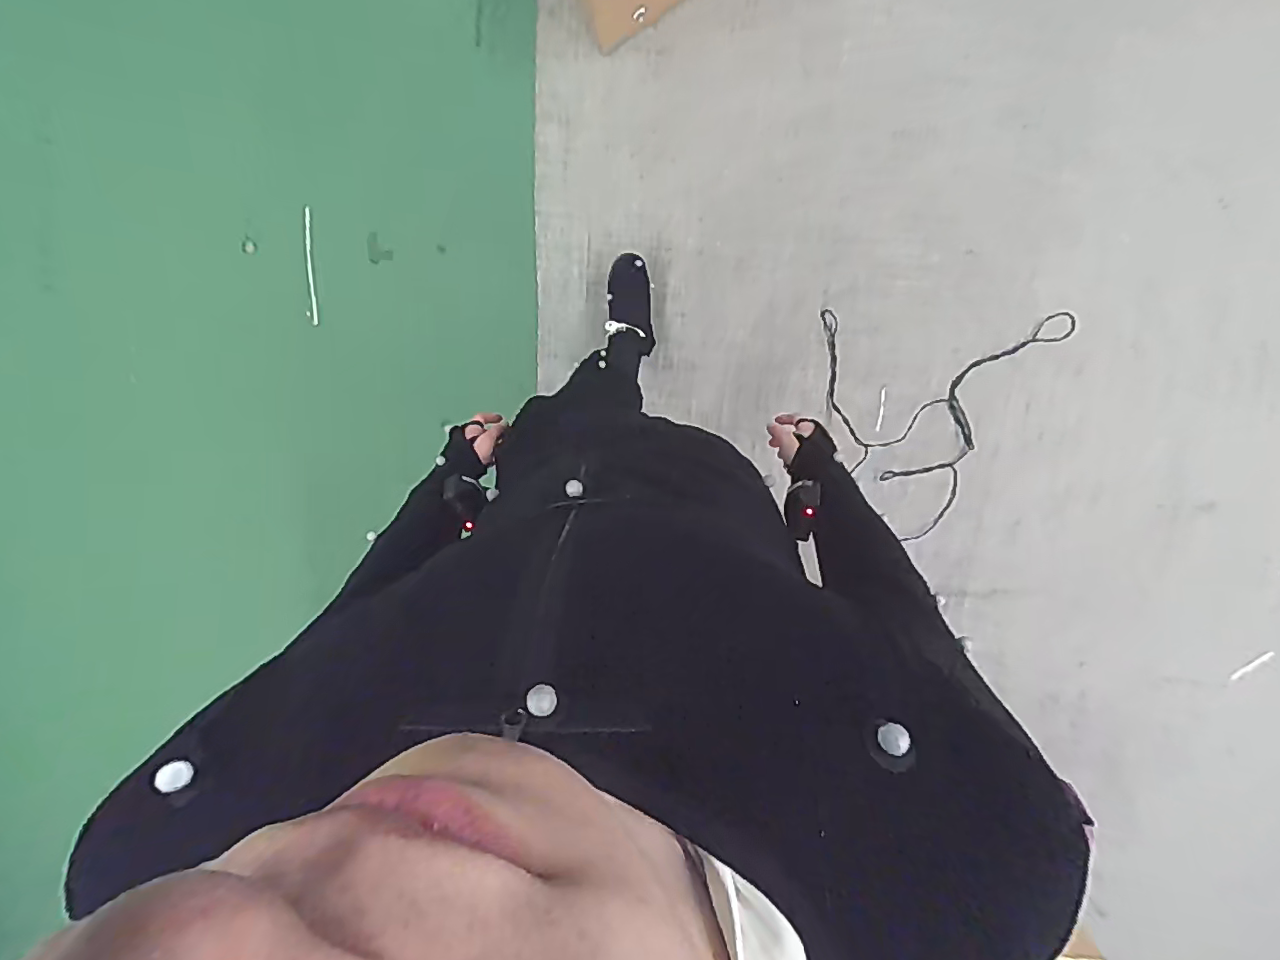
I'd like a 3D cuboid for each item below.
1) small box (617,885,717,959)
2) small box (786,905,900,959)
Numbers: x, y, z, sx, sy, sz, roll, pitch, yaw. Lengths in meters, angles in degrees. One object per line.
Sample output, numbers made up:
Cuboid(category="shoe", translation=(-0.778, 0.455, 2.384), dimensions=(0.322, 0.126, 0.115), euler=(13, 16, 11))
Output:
Cuboid(category="small box", translation=(0.045, 0.898, 1.005), dimensions=(0.179, 0.176, 0.168), euler=(4, 103, 2))
Cuboid(category="small box", translation=(0.374, 0.925, 0.988), dimensions=(0.179, 0.176, 0.168), euler=(4, 104, 3))
